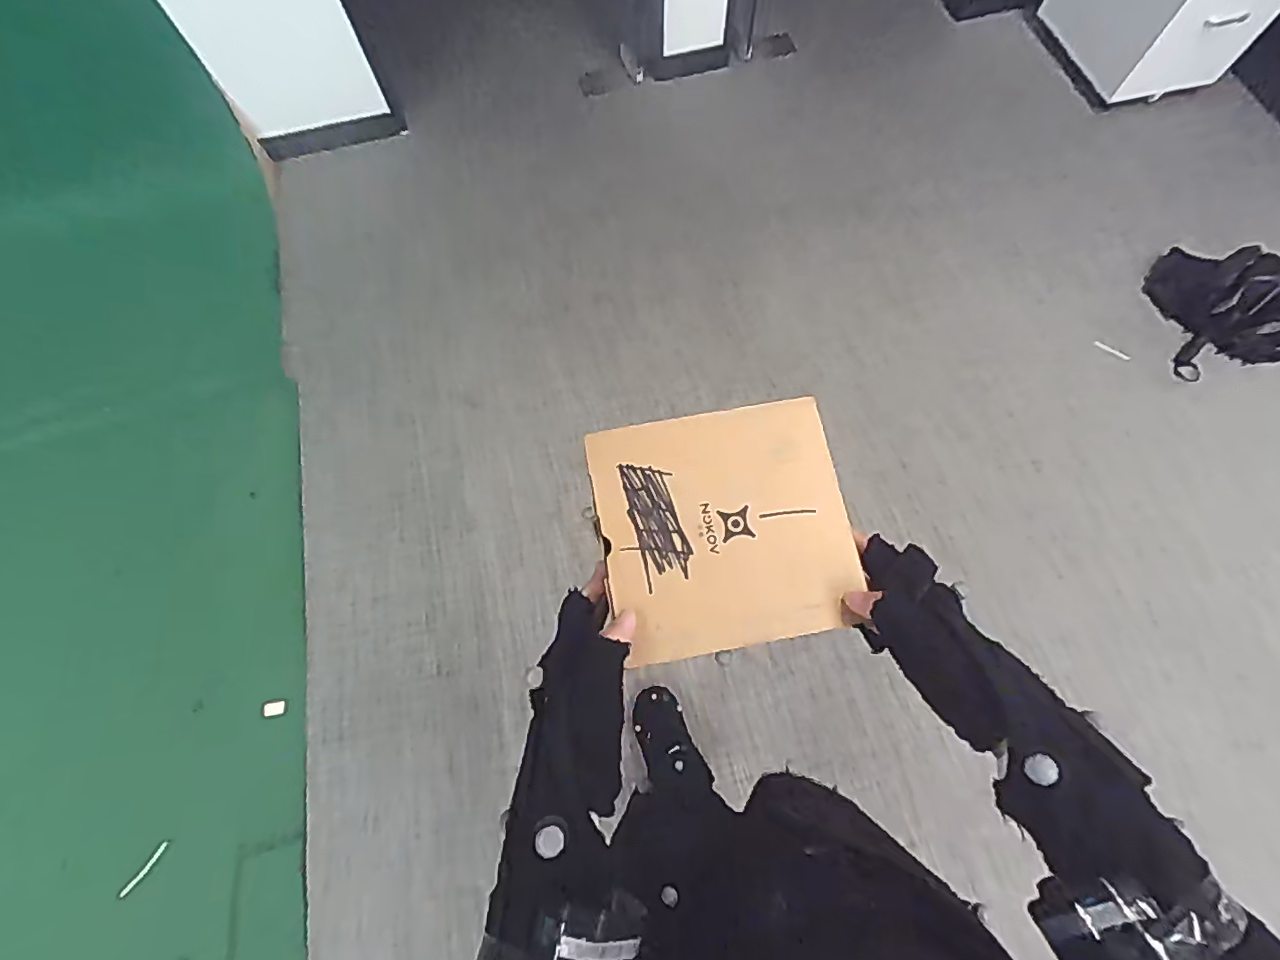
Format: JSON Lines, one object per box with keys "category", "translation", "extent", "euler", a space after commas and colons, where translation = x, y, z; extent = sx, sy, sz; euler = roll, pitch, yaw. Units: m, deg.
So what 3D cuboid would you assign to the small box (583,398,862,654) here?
{"category": "small box", "translation": [0.056, 0.048, 0.464], "extent": [0.179, 0.176, 0.168], "euler": [-10, 77, -3]}
